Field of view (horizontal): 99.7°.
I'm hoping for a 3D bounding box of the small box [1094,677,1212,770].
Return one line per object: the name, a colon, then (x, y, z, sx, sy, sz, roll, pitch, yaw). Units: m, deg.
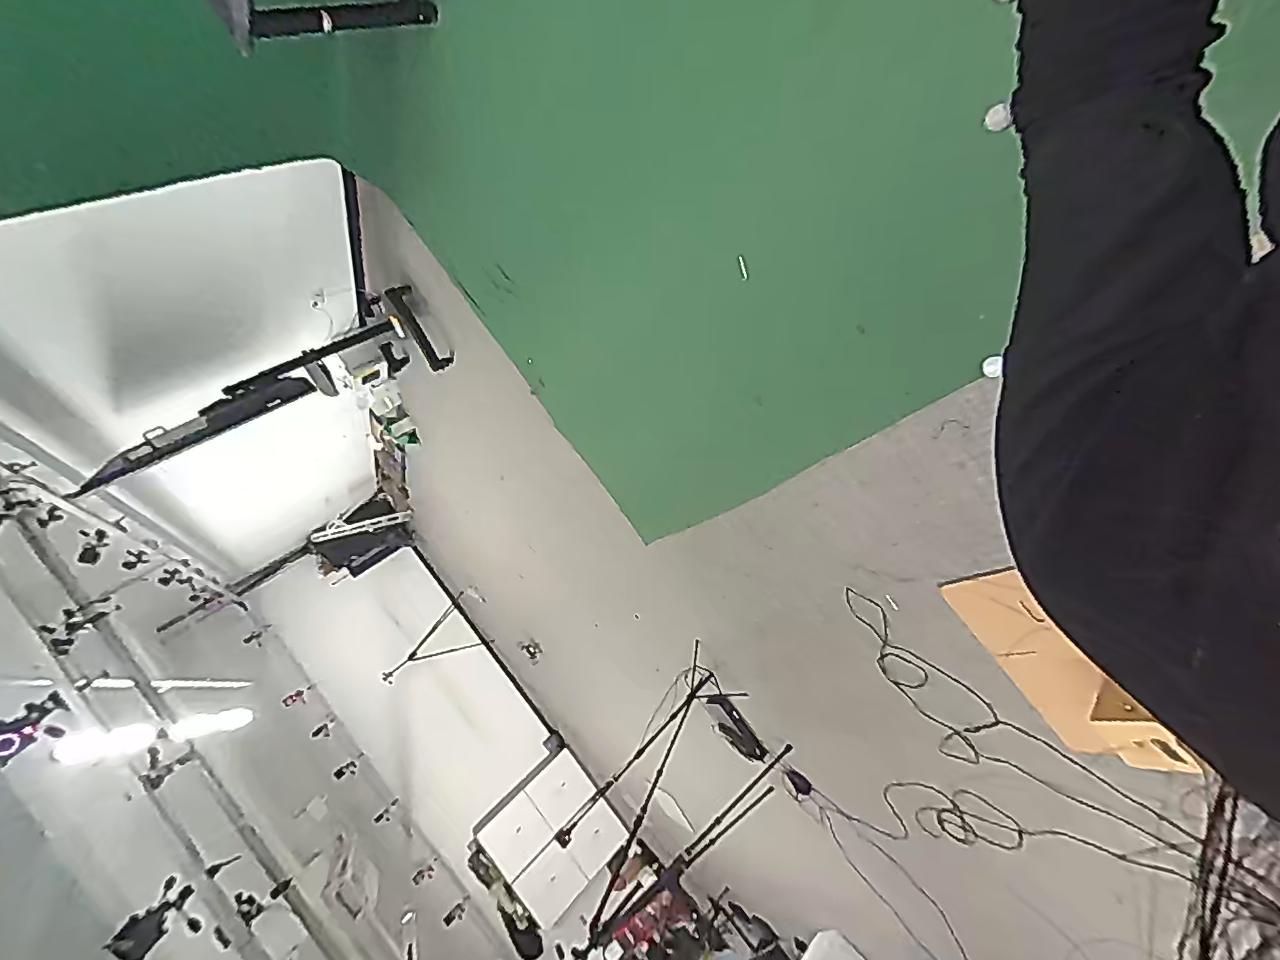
small box: (1.410, 0.661, 1.483, 0.168, 0.176, 0.179, 50, 150, 5)
